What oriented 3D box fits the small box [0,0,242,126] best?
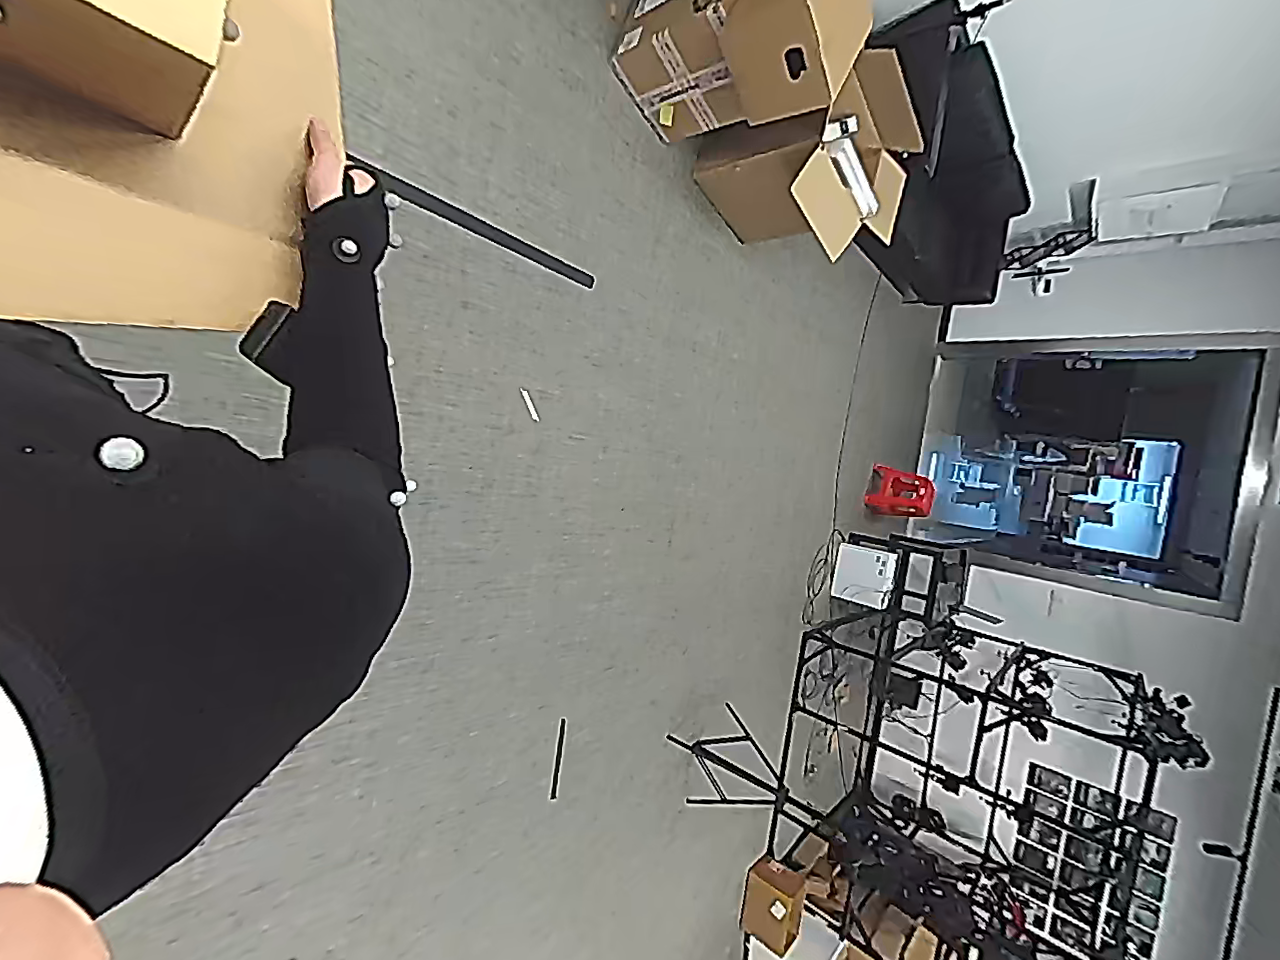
[{"bbox_3d":[-0.367,-0.357,0.336,0.179,0.176,0.168,7,94,-46],"label":"small box"}]
